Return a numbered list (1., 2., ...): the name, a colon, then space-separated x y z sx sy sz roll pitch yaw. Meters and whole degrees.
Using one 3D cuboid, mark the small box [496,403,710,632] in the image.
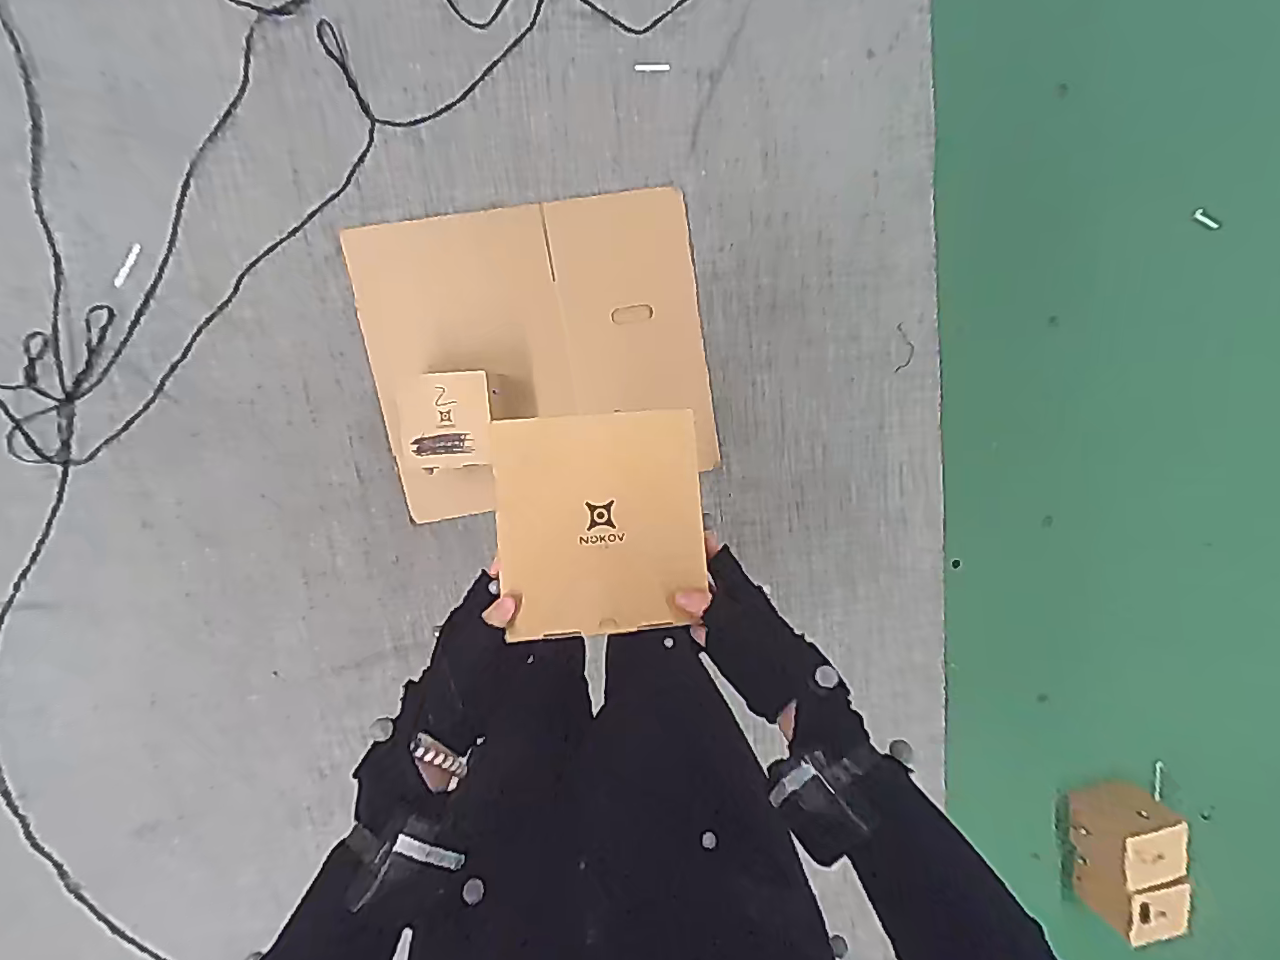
1. small box: -0.037 0.032 0.516 0.168 0.176 0.179 -5 89 -5
